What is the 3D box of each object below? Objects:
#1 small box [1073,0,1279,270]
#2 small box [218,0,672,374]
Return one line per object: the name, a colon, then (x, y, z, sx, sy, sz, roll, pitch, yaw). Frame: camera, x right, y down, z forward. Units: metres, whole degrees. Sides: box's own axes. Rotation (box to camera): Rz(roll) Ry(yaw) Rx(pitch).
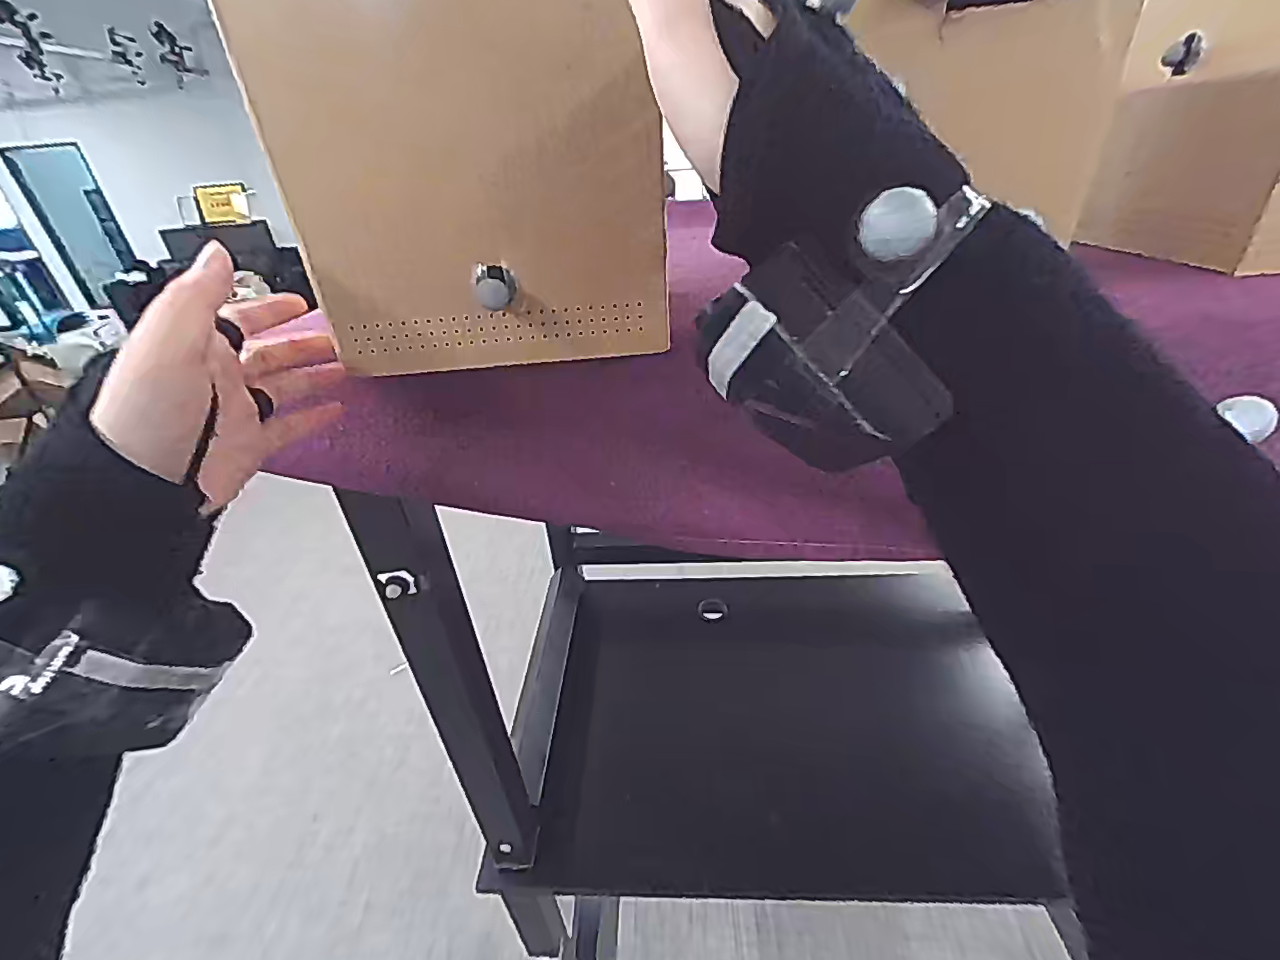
small box: (0.449, -0.242, 0.364, 0.168, 0.176, 0.179, -3, 31, 3)
small box: (-0.078, -0.170, 0.310, 0.179, 0.176, 0.168, -5, 31, -3)
